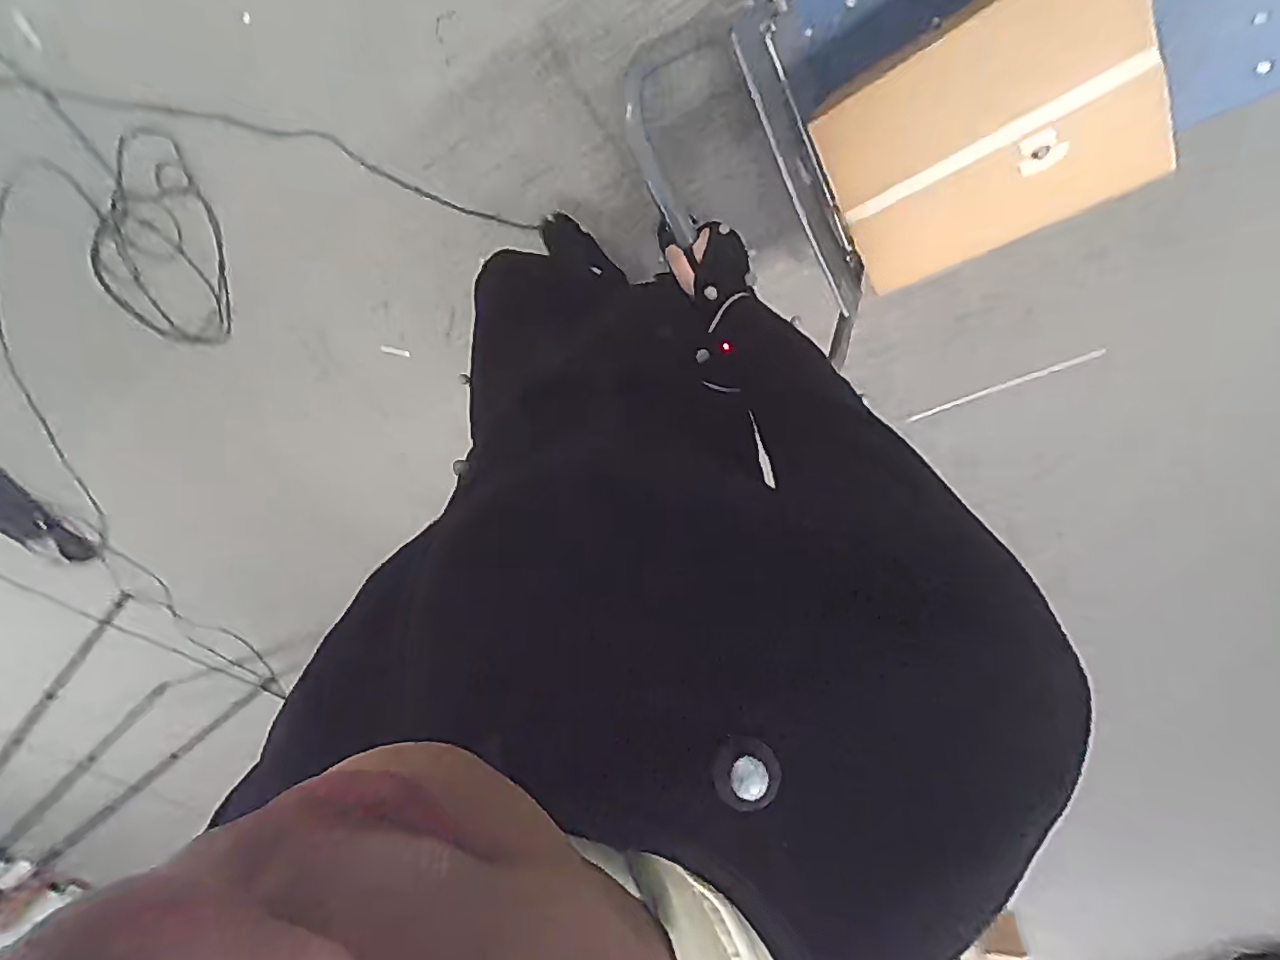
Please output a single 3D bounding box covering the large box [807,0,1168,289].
[{"bbox_3d":[0.541,-0.594,0.904,0.408,0.320,0.320,-18,121,34],"label":"large box"}]
